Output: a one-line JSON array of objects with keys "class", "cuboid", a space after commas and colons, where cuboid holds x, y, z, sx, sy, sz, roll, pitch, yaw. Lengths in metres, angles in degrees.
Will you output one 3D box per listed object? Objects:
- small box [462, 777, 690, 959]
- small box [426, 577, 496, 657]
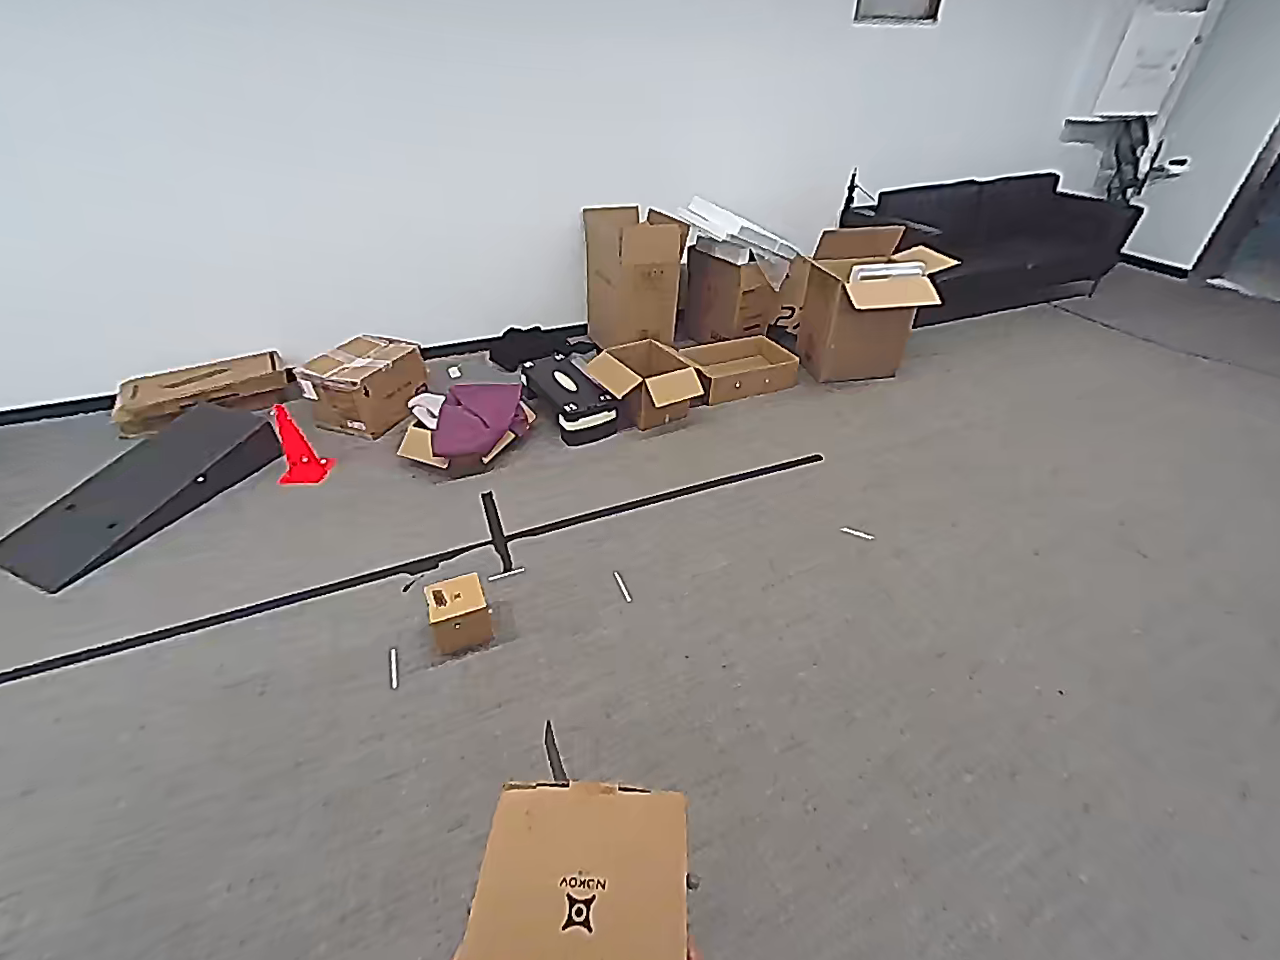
[{"class": "small box", "cuboid": [-0.044, 0.388, 0.463, 0.168, 0.176, 0.179, 2, 37, 3]}, {"class": "small box", "cuboid": [-0.596, 0.459, 1.803, 0.179, 0.176, 0.168, -15, 40, -19]}]
